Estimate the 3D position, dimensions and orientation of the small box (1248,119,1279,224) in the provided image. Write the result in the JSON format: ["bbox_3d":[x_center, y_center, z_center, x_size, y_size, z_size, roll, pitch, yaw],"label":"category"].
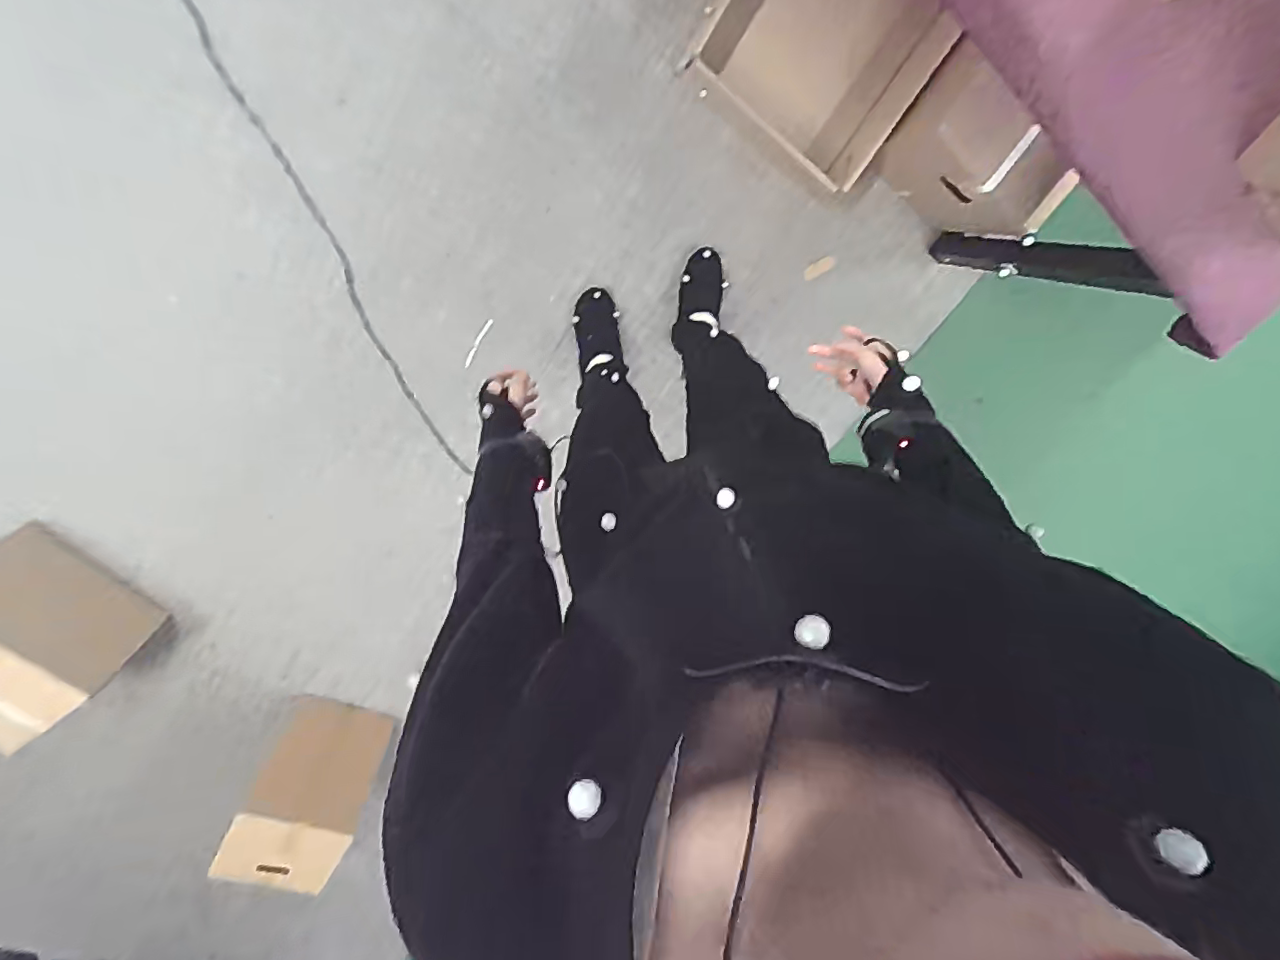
[{"bbox_3d":[0.832,-0.371,0.567,0.168,0.176,0.179,31,108,-19],"label":"small box"}]
